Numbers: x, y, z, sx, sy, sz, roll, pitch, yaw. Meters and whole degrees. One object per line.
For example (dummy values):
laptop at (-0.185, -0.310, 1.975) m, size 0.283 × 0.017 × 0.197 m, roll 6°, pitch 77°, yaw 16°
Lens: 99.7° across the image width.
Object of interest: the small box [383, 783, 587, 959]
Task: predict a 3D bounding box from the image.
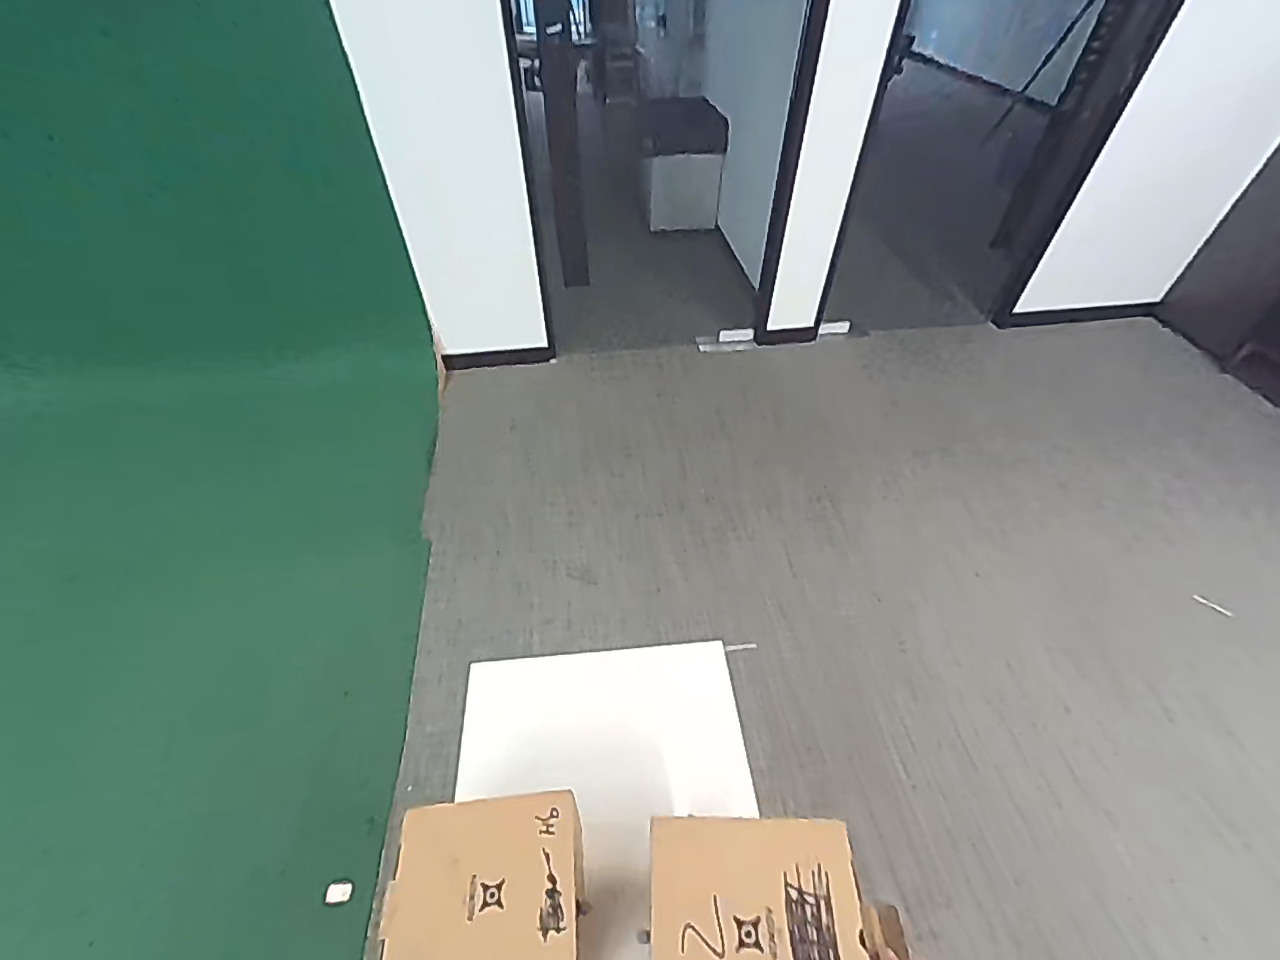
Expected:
small box at (-0.149, 0.444, 0.576) m, size 0.179 × 0.176 × 0.168 m, roll -3°, pitch 46°, yaw -6°
